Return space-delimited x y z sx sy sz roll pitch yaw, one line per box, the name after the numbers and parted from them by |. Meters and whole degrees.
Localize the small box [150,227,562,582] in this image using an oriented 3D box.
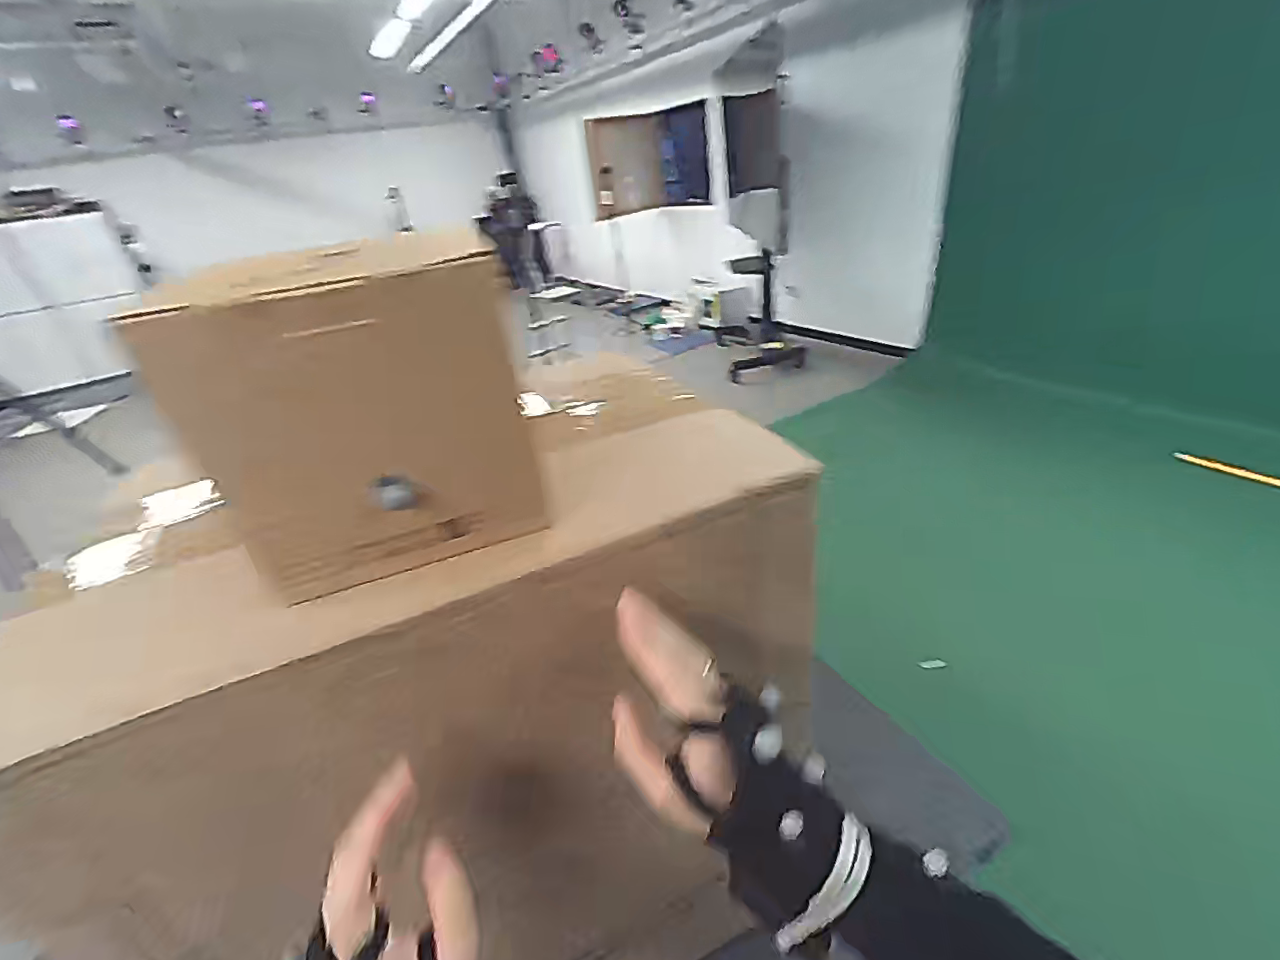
-0.161 -0.063 0.366 0.168 0.176 0.179 -16 34 -14 | small box
